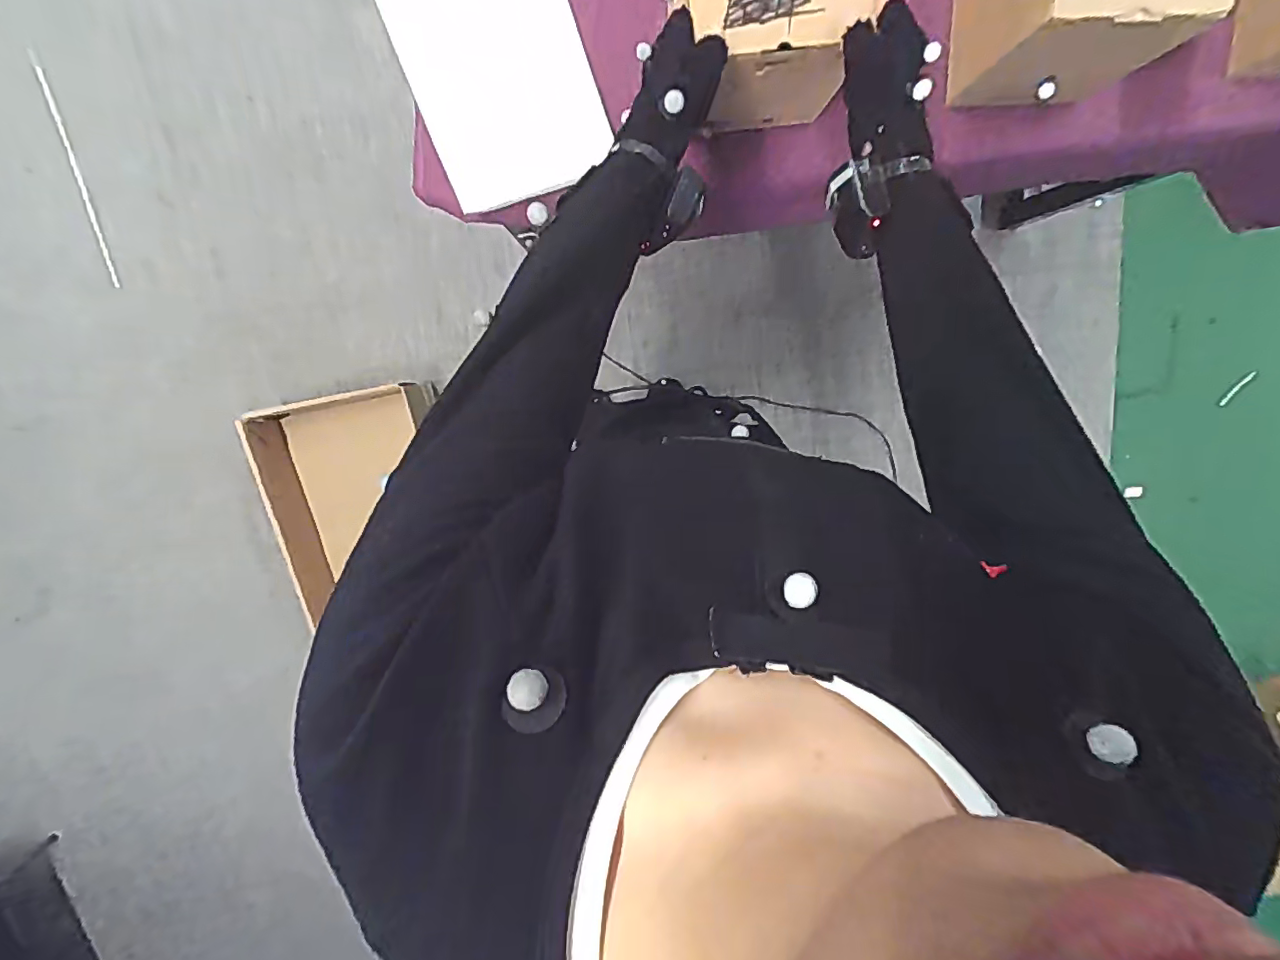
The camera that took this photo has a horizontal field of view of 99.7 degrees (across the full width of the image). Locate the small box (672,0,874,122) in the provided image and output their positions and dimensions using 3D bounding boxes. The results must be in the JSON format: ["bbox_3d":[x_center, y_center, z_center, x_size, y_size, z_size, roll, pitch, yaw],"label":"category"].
[{"bbox_3d":[0.121,-0.486,0.542,0.168,0.176,0.179,-4,102,0],"label":"small box"}]

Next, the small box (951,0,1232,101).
[{"bbox_3d":[0.443,-0.519,0.544,0.168,0.176,0.179,-2,103,-1],"label":"small box"}]
